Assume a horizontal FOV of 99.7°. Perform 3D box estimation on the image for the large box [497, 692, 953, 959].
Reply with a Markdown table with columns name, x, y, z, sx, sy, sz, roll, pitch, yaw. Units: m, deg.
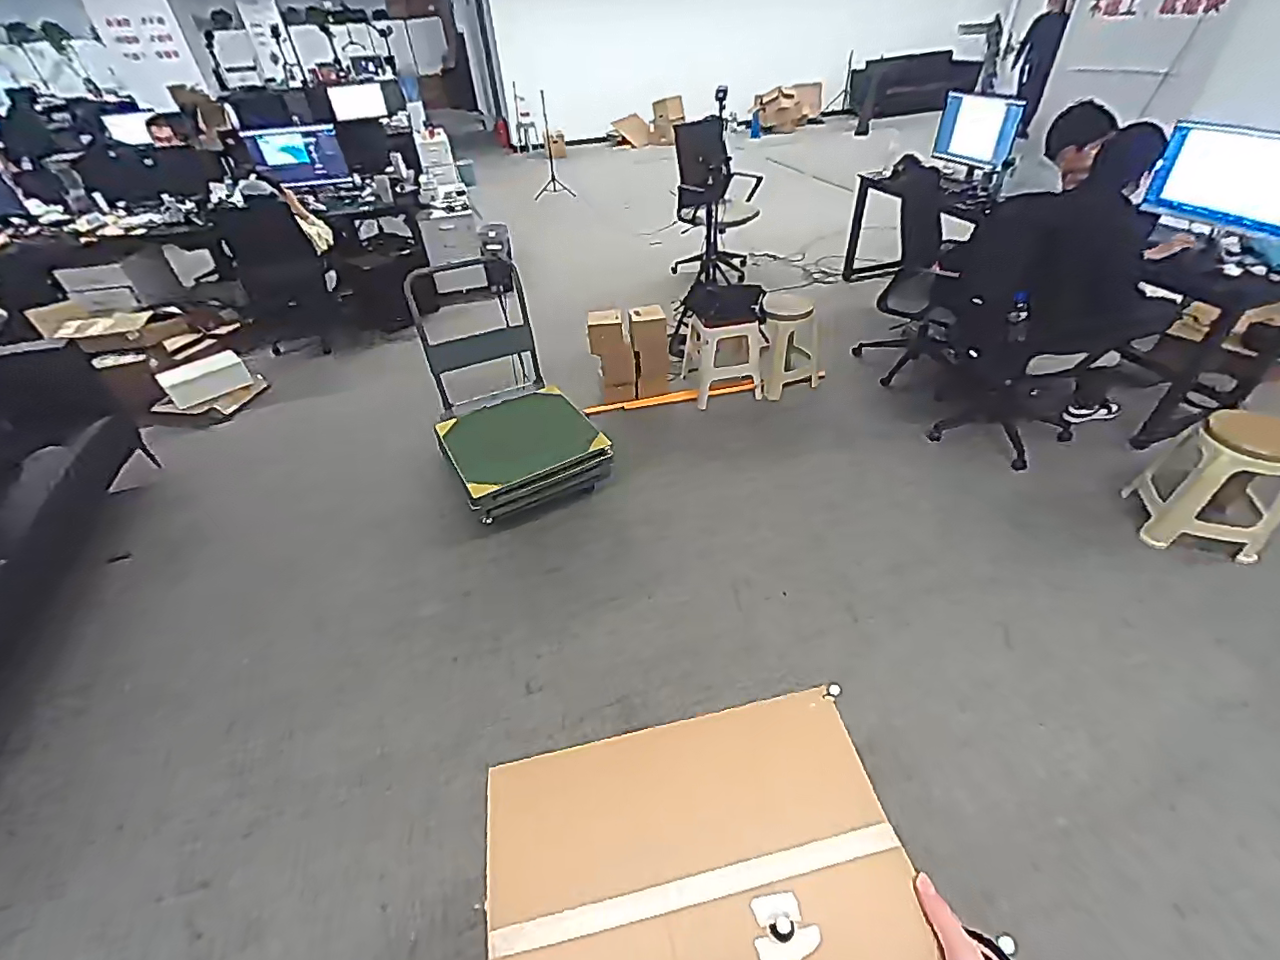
| name | x | y | z | sx | sy | sz | roll | pitch | yaw |
| --- | --- | --- | --- | --- | --- | --- | --- | --- | --- |
| large box | 0.074 | 0.505 | 0.630 | 0.408 | 0.320 | 0.320 | -12 | 46 | -5 |
